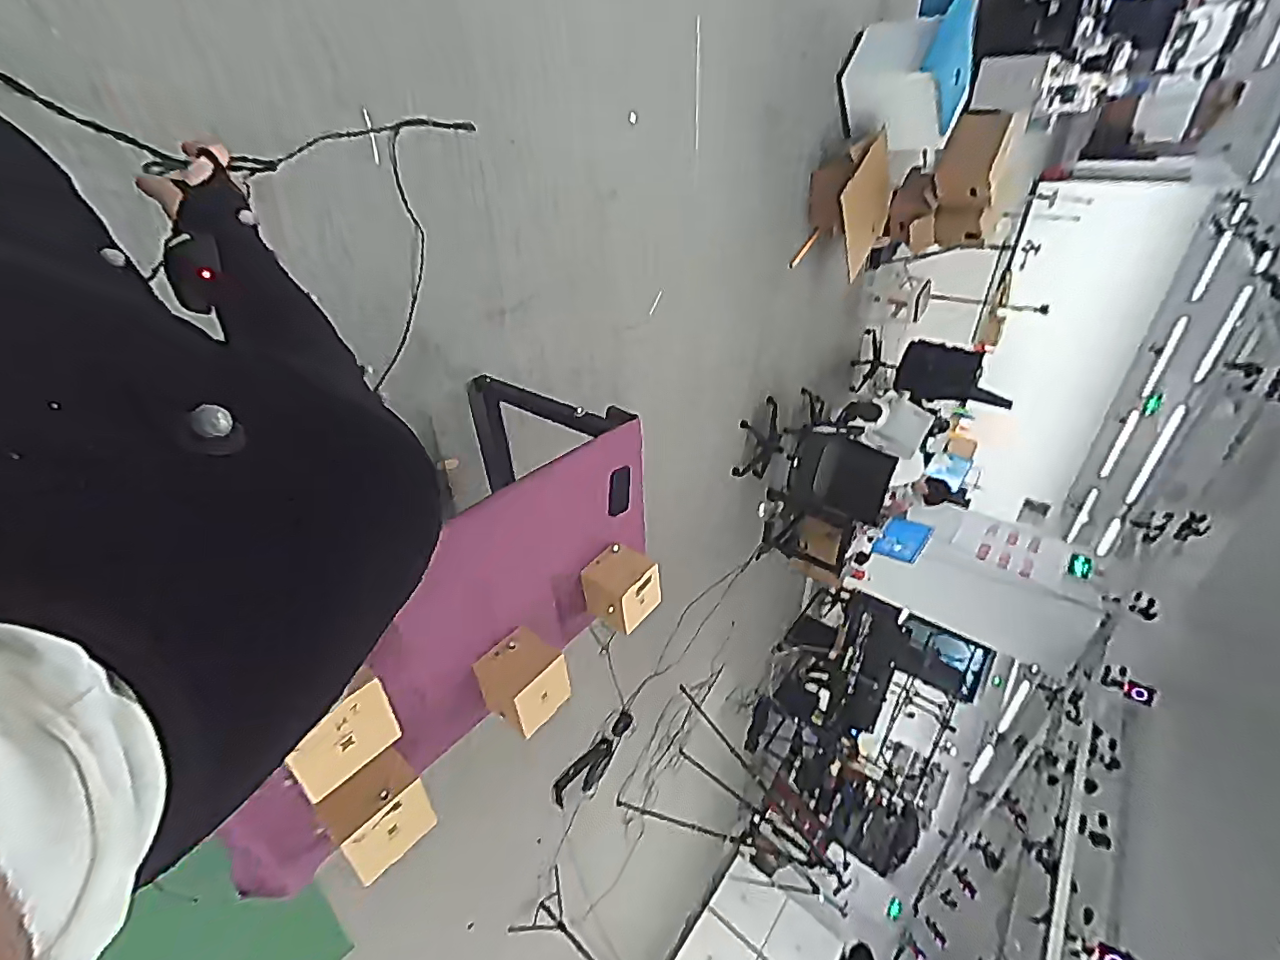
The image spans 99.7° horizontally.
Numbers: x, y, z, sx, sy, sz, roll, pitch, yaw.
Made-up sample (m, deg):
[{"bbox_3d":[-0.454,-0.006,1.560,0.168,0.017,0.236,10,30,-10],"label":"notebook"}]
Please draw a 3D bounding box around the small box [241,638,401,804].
[{"bbox_3d":[-0.564,0.419,0.965,0.168,0.176,0.179,-35,135,-42],"label":"small box"}]

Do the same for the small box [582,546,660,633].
[{"bbox_3d":[-0.057,0.320,1.635,0.168,0.176,0.179,-39,138,-36],"label":"small box"}]

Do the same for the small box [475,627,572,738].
[{"bbox_3d":[-0.302,0.520,1.408,0.168,0.176,0.179,-37,136,-39],"label":"small box"}]

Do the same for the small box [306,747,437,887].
[{"bbox_3d":[-0.560,0.687,1.135,0.168,0.176,0.179,-34,135,-42],"label":"small box"}]
